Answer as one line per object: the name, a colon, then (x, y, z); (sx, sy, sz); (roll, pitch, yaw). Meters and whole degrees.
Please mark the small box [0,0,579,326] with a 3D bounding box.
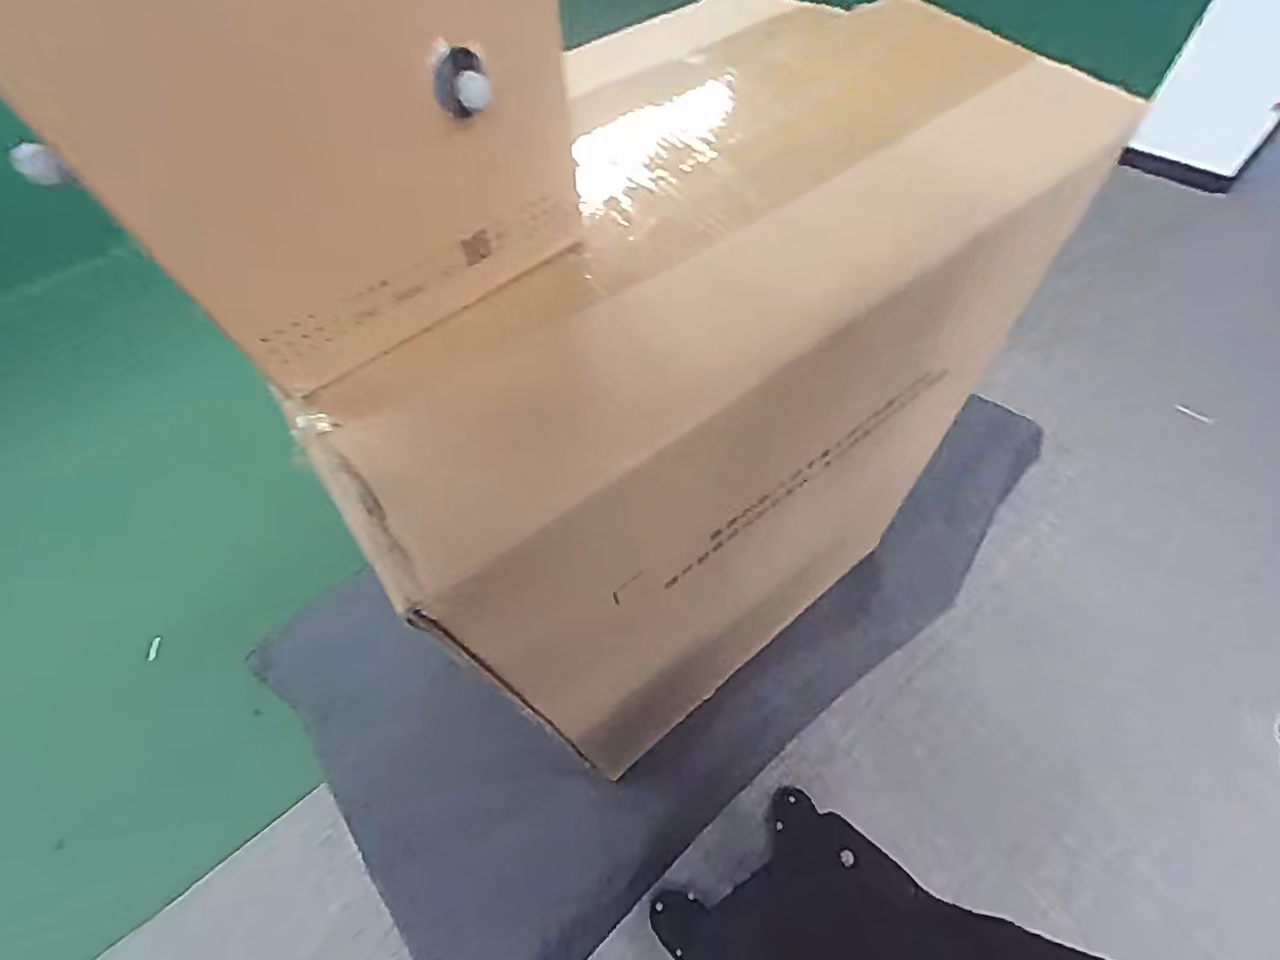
small box: (-0.140, -0.188, 0.213); (0.168, 0.176, 0.179); (-37, 65, -21)
